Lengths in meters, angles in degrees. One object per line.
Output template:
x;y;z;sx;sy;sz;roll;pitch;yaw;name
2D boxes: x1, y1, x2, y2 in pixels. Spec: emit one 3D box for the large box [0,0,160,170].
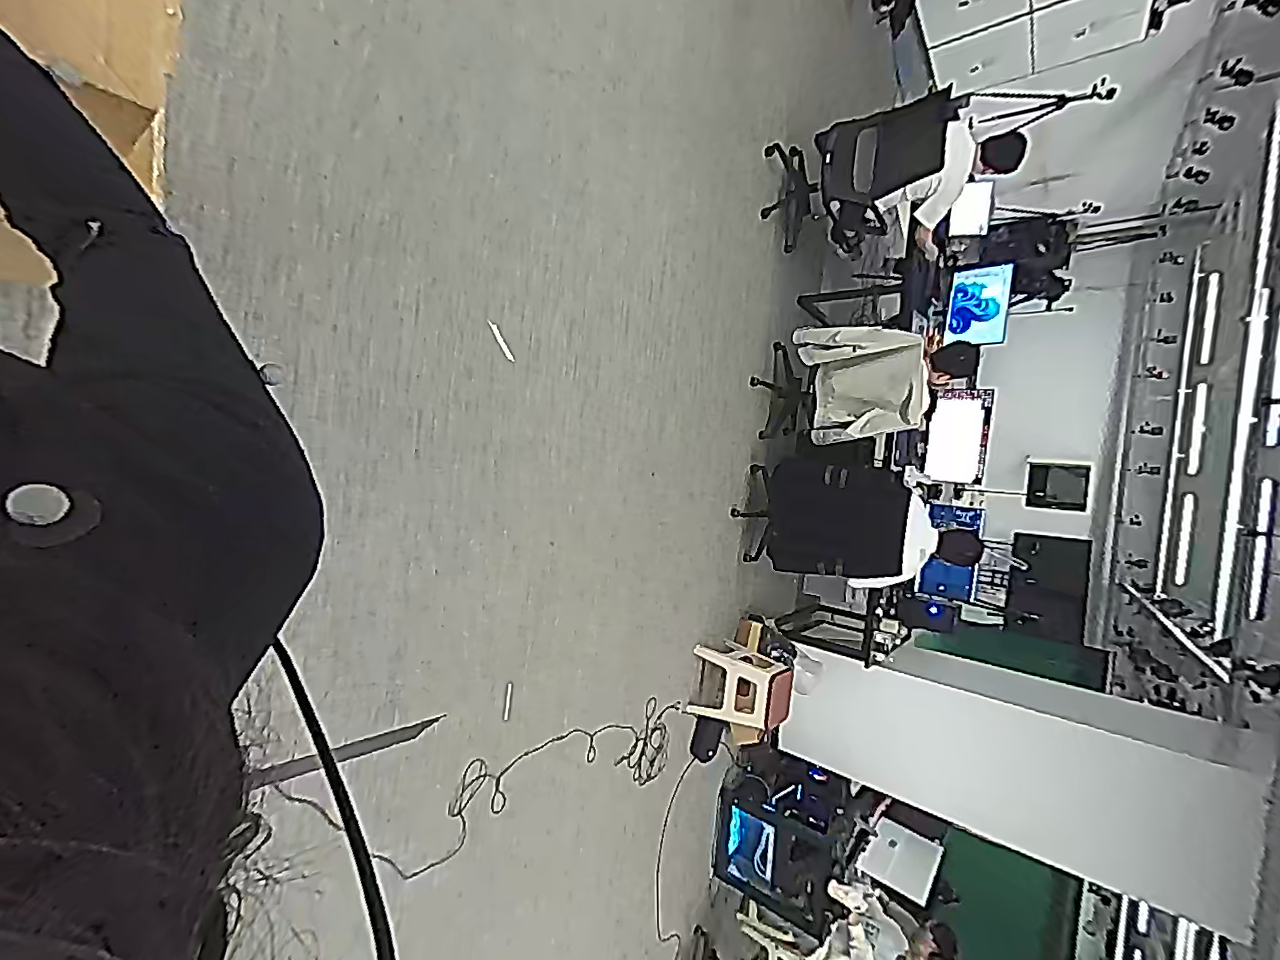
-0.657;-0.511;0.403;0.408;0.320;0.320;3;94;-54;large box
